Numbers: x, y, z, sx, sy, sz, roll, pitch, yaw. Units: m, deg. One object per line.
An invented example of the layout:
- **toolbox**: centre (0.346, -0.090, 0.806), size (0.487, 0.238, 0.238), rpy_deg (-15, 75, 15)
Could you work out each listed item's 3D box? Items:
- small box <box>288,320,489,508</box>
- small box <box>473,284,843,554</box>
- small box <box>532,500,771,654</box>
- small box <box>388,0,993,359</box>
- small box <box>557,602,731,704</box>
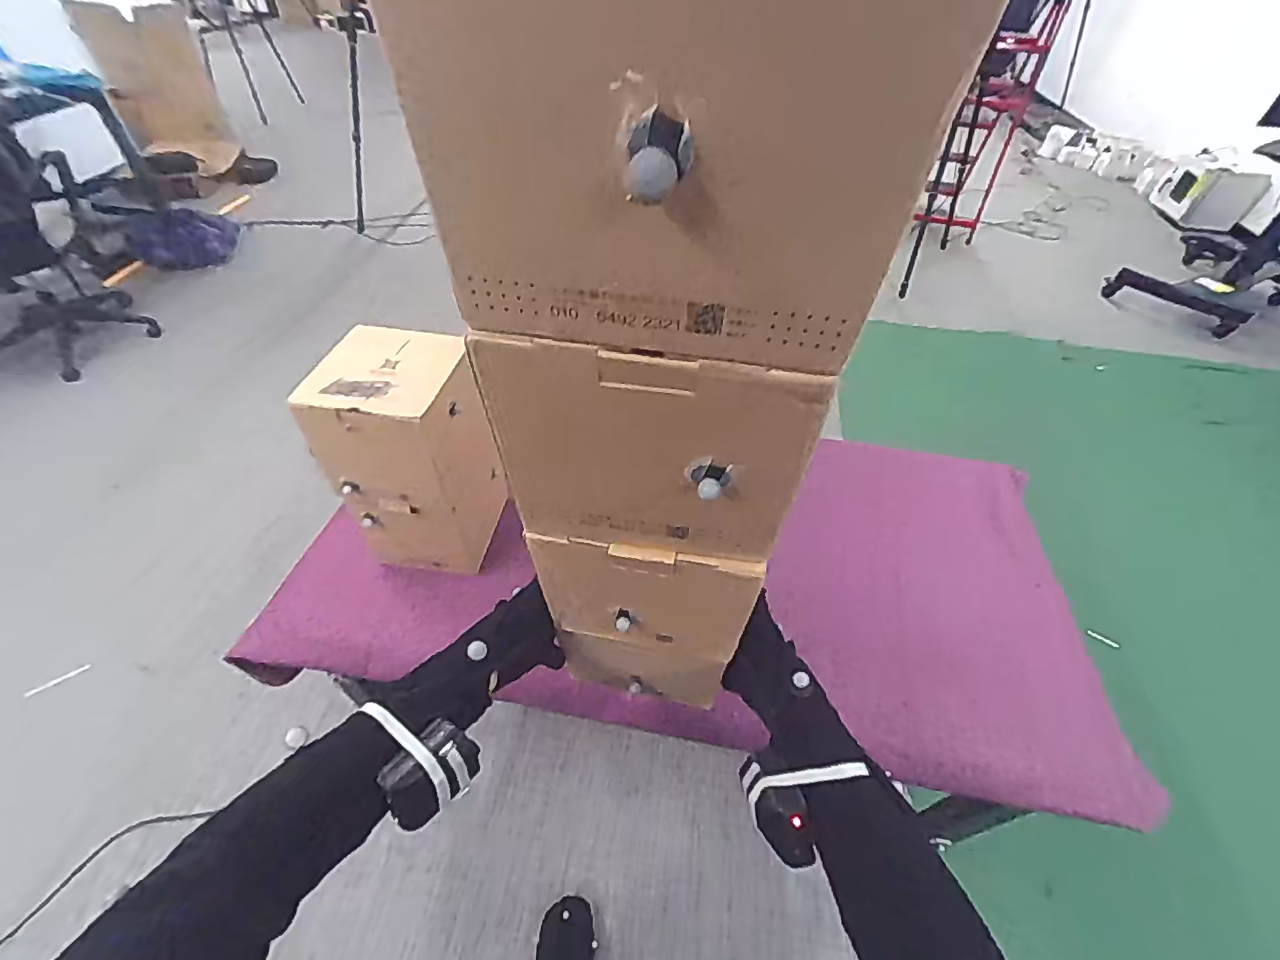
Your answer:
- **small box**: centre (-0.316, -0.086, 0.729), size (0.168, 0.176, 0.179), rpy_deg (11, 48, 4)
- **small box**: centre (0.019, -0.072, 0.343), size (0.168, 0.176, 0.179), rpy_deg (9, 55, 5)
- **small box**: centre (0.020, 0.028, 0.472), size (0.168, 0.176, 0.179), rpy_deg (10, 55, 6)
- **small box**: centre (0.023, -0.171, 0.212), size (0.168, 0.176, 0.179), rpy_deg (9, 56, 4)
- **small box**: centre (0.019, 0.125, 0.603), size (0.168, 0.176, 0.179), rpy_deg (10, 55, 8)
